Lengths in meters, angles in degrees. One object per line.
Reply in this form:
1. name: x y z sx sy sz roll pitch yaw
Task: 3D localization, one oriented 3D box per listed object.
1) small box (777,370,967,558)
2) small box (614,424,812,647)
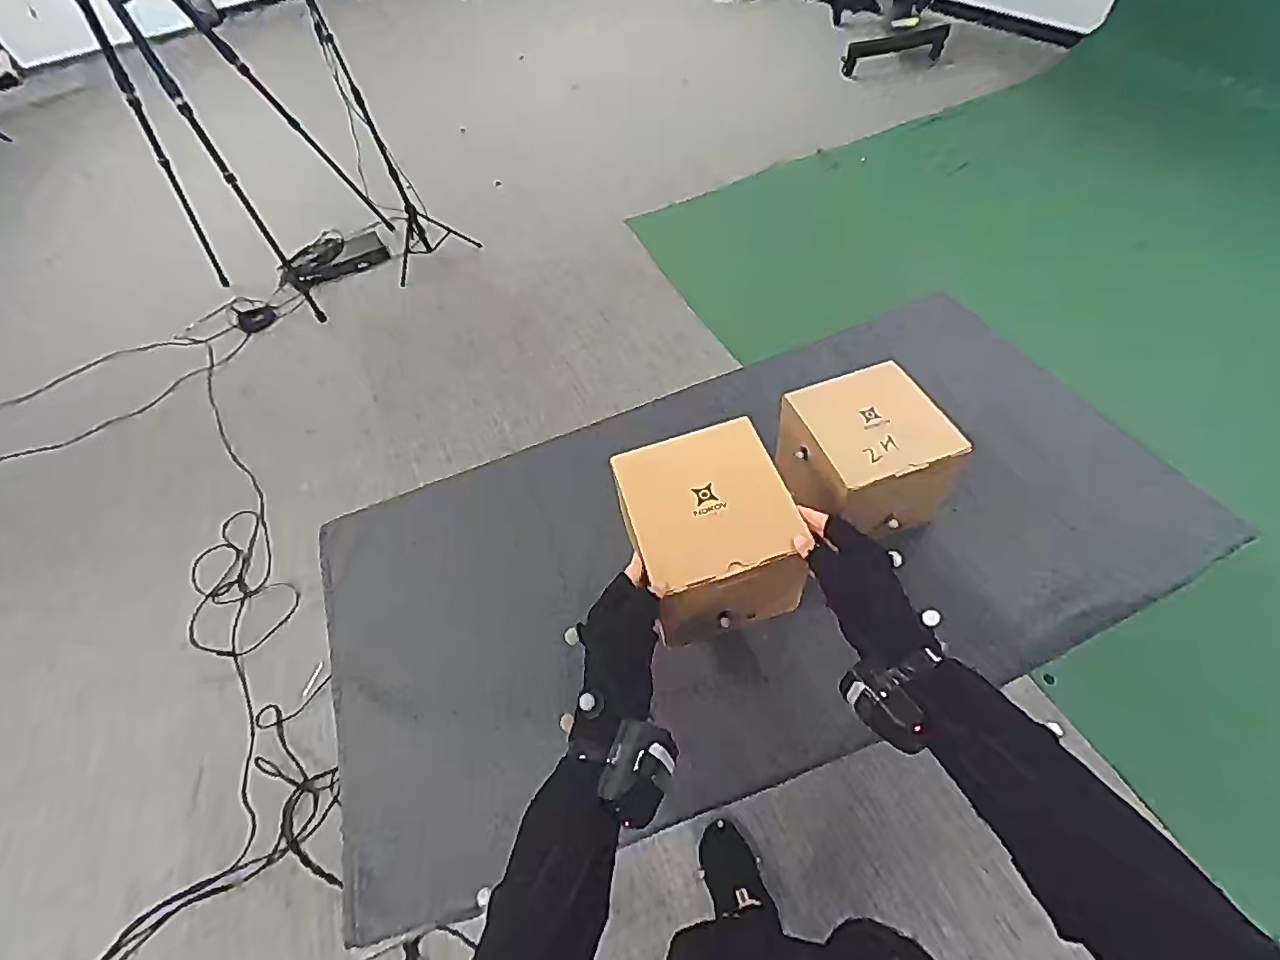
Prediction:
1. small box: 0.306 -0.020 0.762 0.168 0.176 0.179 -18 53 -4
2. small box: 0.077 0.069 0.634 0.168 0.176 0.179 -17 56 -4
